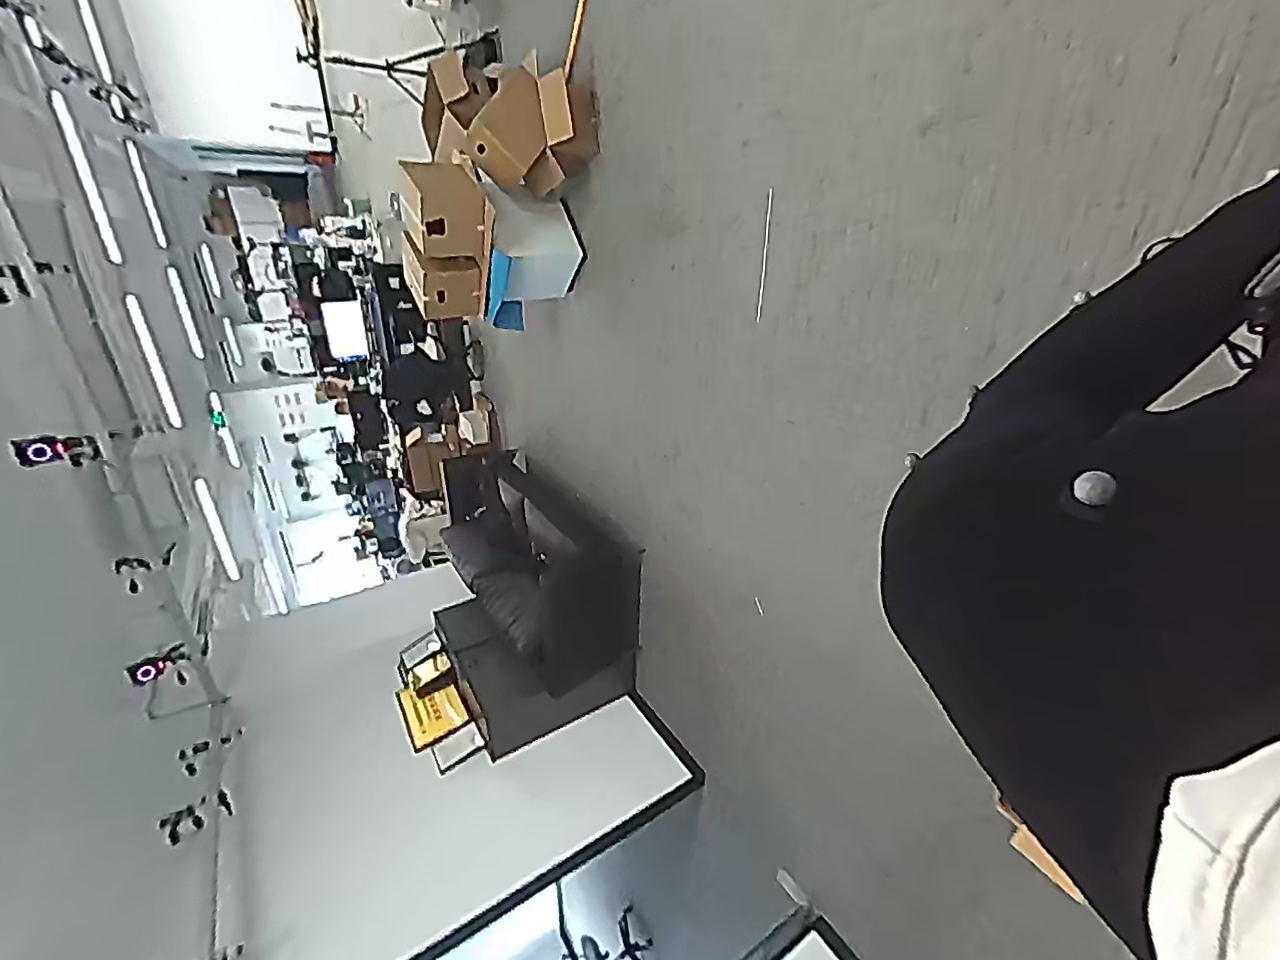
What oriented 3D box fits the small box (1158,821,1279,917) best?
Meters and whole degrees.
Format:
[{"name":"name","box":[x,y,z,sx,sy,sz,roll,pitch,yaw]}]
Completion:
[{"name":"small box","box":[1.340,0.927,1.219,0.168,0.176,0.179,38,135,45]}]

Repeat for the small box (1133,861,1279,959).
[{"name":"small box","box":[1.205,0.962,1.136,0.168,0.176,0.179,38,134,46]}]

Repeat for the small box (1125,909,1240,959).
[{"name":"small box","box":[1.069,0.997,1.052,0.168,0.176,0.179,36,133,47]}]
